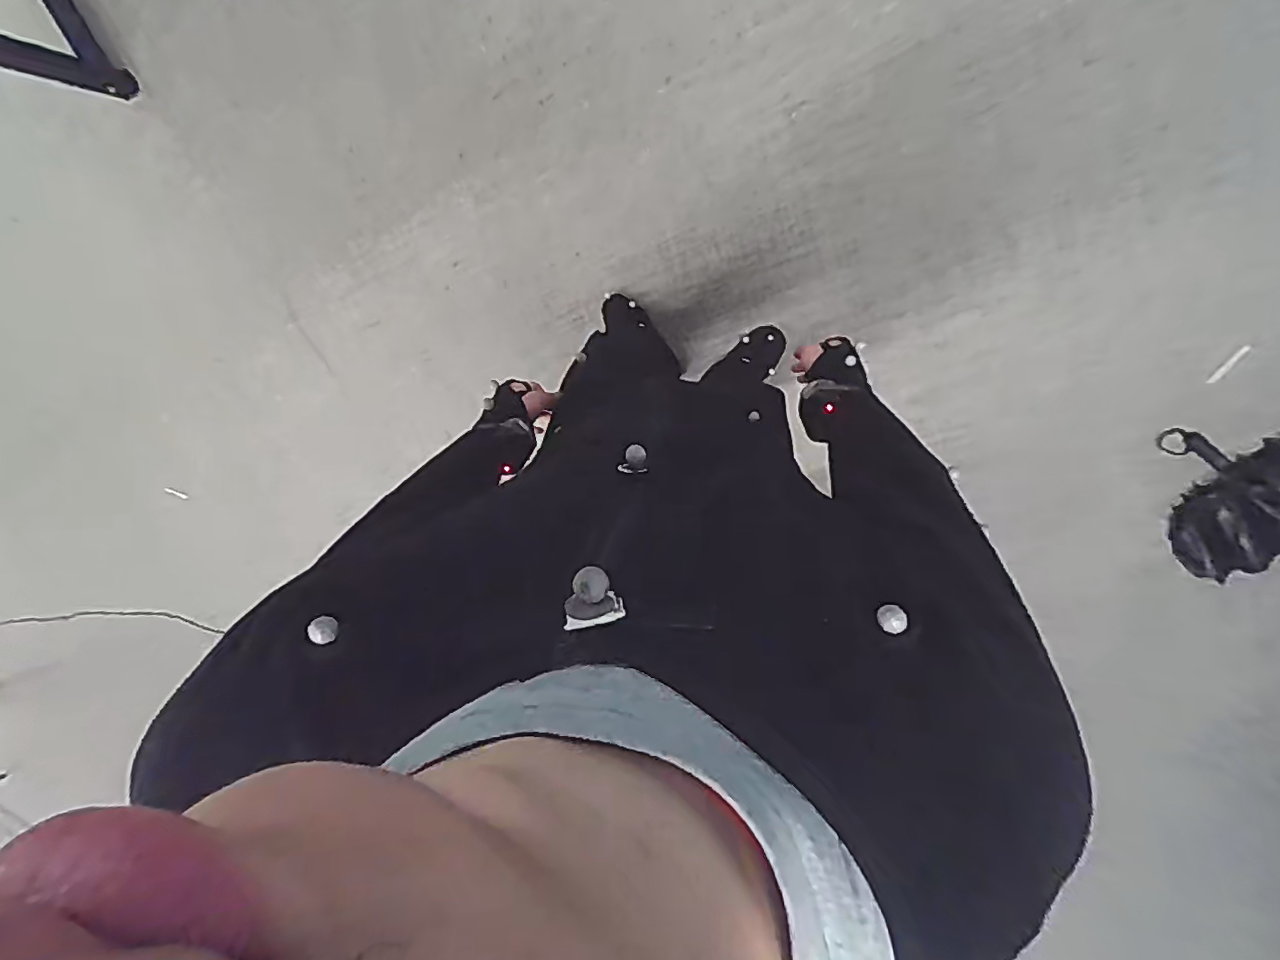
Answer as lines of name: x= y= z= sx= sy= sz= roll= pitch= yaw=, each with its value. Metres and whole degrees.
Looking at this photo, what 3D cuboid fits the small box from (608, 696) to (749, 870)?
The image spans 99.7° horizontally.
small box: x=0.074 y=0.494 z=0.893 sx=0.168 sy=0.176 sz=0.179 roll=-23 pitch=104 yaw=19
